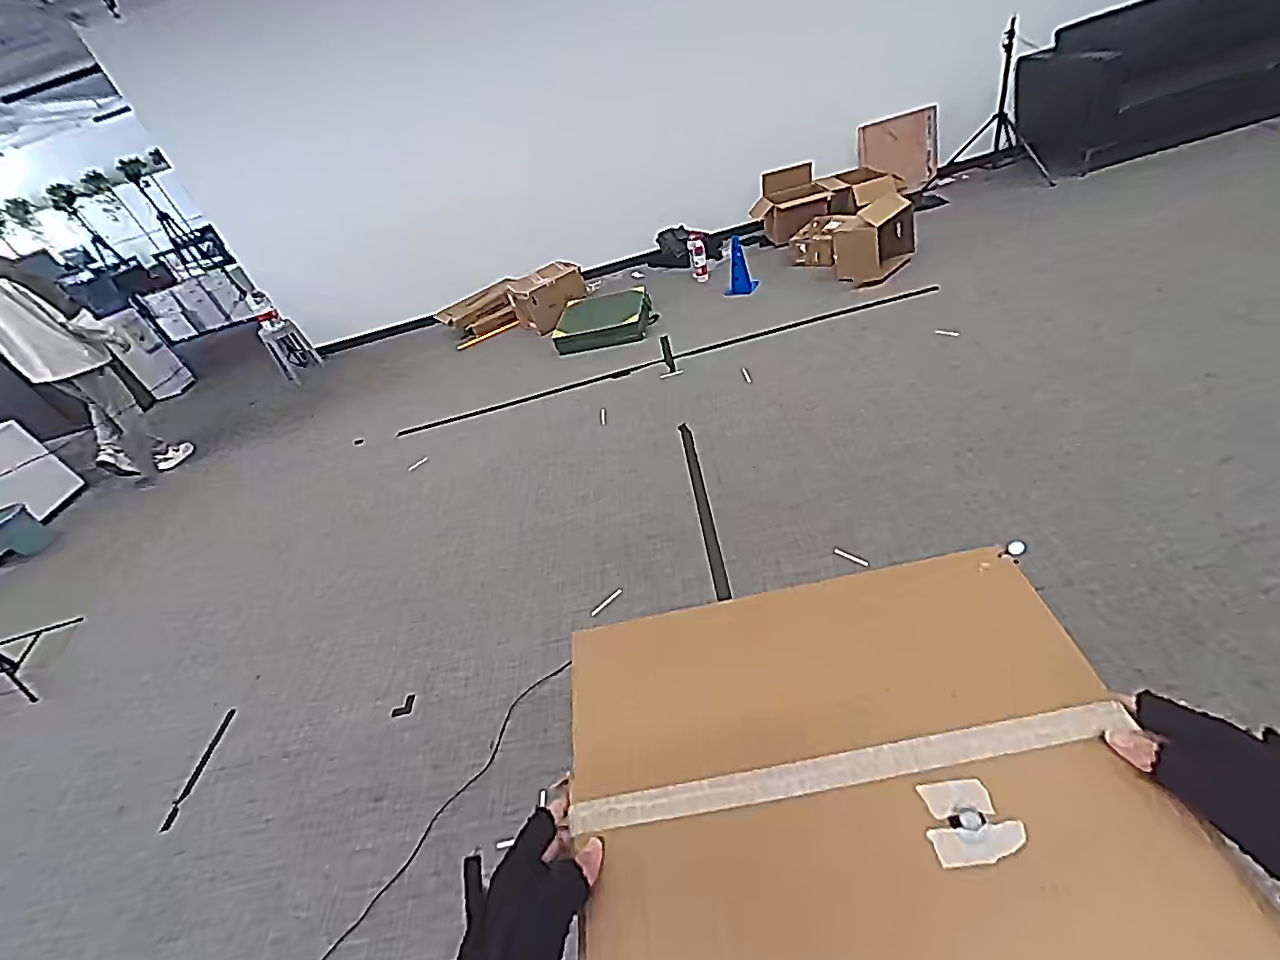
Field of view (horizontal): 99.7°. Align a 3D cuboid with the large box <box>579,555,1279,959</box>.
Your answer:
[{"bbox_3d":[0.180,0.323,0.510,0.408,0.320,0.320,-13,46,3],"label":"large box"}]
